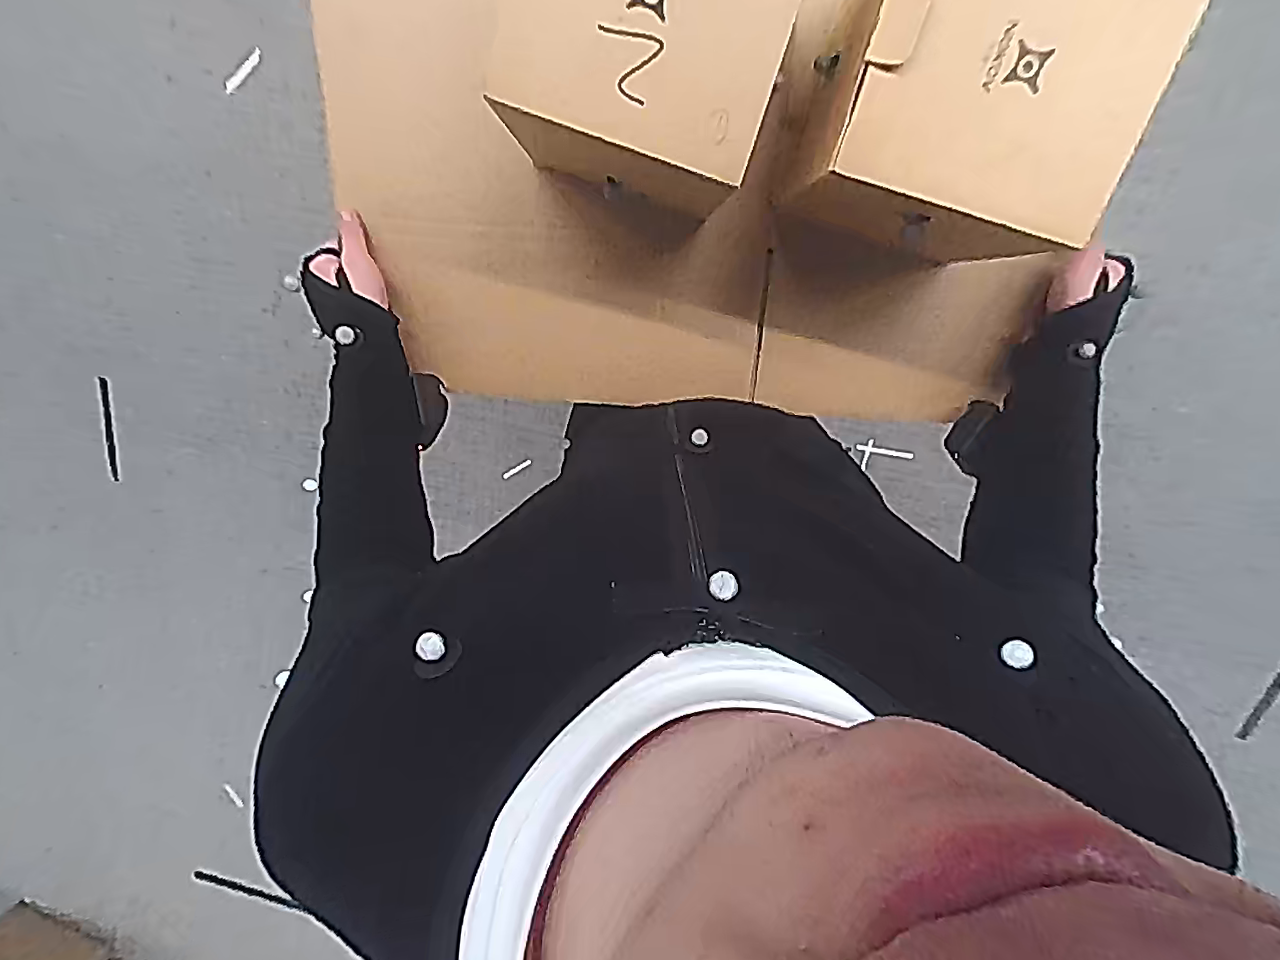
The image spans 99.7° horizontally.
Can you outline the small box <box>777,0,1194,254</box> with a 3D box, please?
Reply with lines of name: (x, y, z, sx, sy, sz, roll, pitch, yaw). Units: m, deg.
small box: (0.224, -0.276, 0.402, 0.179, 0.176, 0.168, 14, 110, -4)
